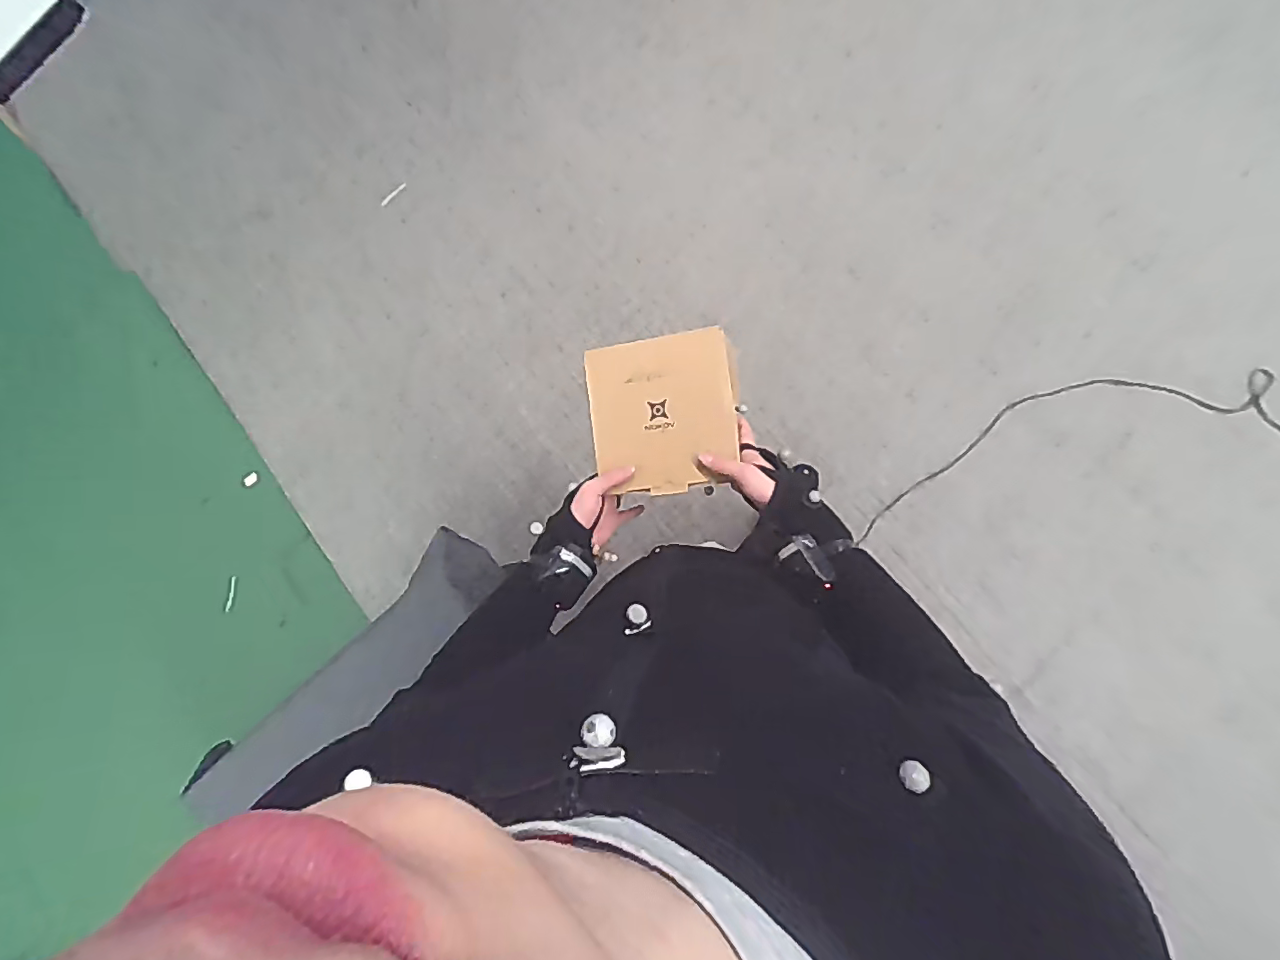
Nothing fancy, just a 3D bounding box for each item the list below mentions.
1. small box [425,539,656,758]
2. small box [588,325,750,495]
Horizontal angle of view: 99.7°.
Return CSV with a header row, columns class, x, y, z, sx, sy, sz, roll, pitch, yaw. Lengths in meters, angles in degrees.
class,x,y,z,sx,sy,sz,roll,pitch,yaw
small box,-0.114,0.184,0.639,0.176,0.168,0.179,-7,112,38
small box,0.047,-0.082,0.702,0.168,0.176,0.179,-9,90,14
